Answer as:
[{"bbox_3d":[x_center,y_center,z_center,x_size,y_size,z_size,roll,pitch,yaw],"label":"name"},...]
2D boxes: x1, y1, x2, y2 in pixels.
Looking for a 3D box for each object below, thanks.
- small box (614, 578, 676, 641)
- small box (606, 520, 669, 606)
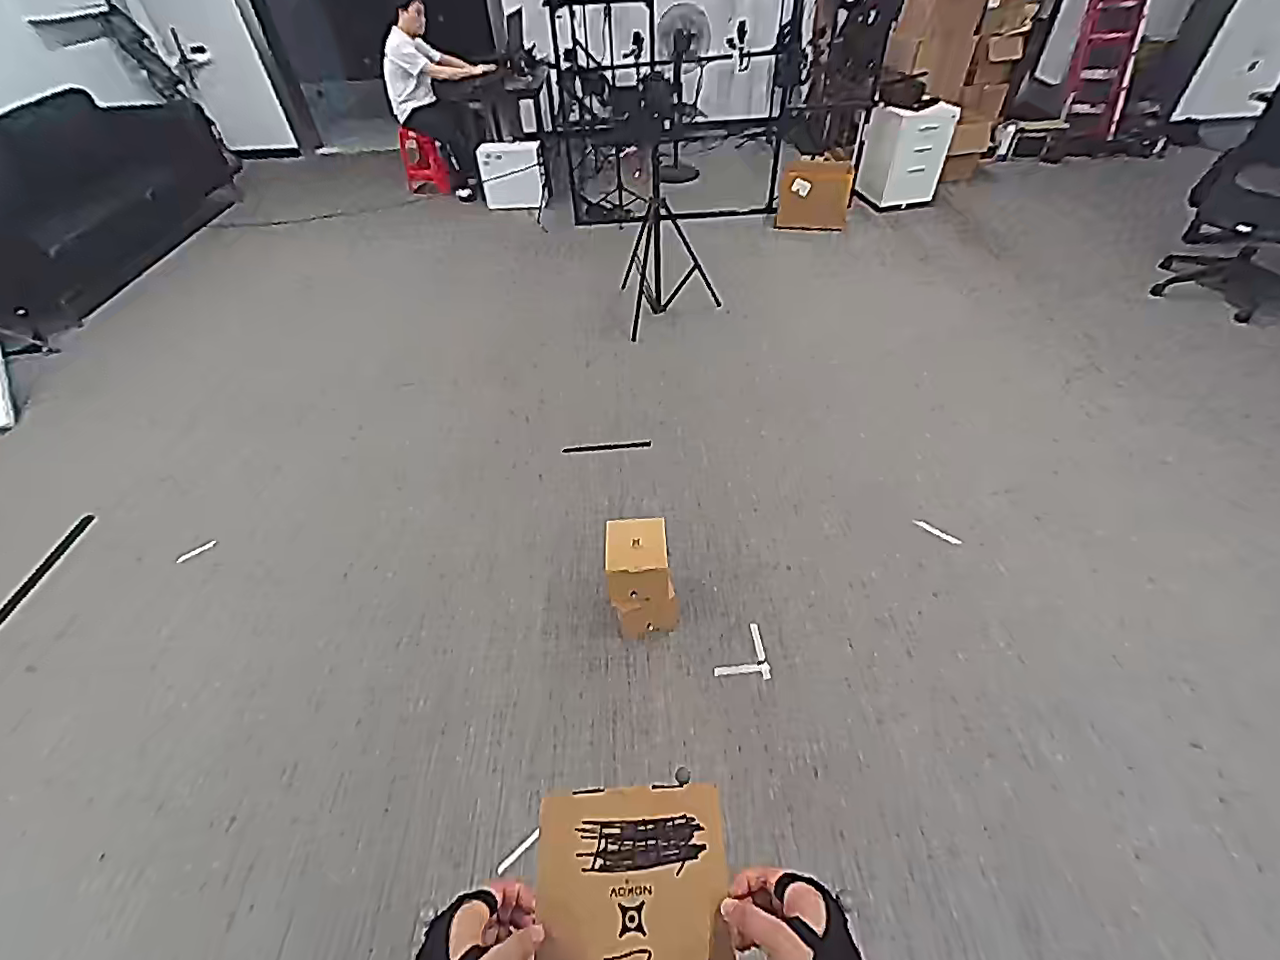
[{"bbox_3d":[0.005,0.353,1.629,0.168,0.176,0.179,-13,46,-8],"label":"small box"},{"bbox_3d":[-0.008,0.234,1.518,0.168,0.176,0.179,-3,45,0],"label":"small box"}]
